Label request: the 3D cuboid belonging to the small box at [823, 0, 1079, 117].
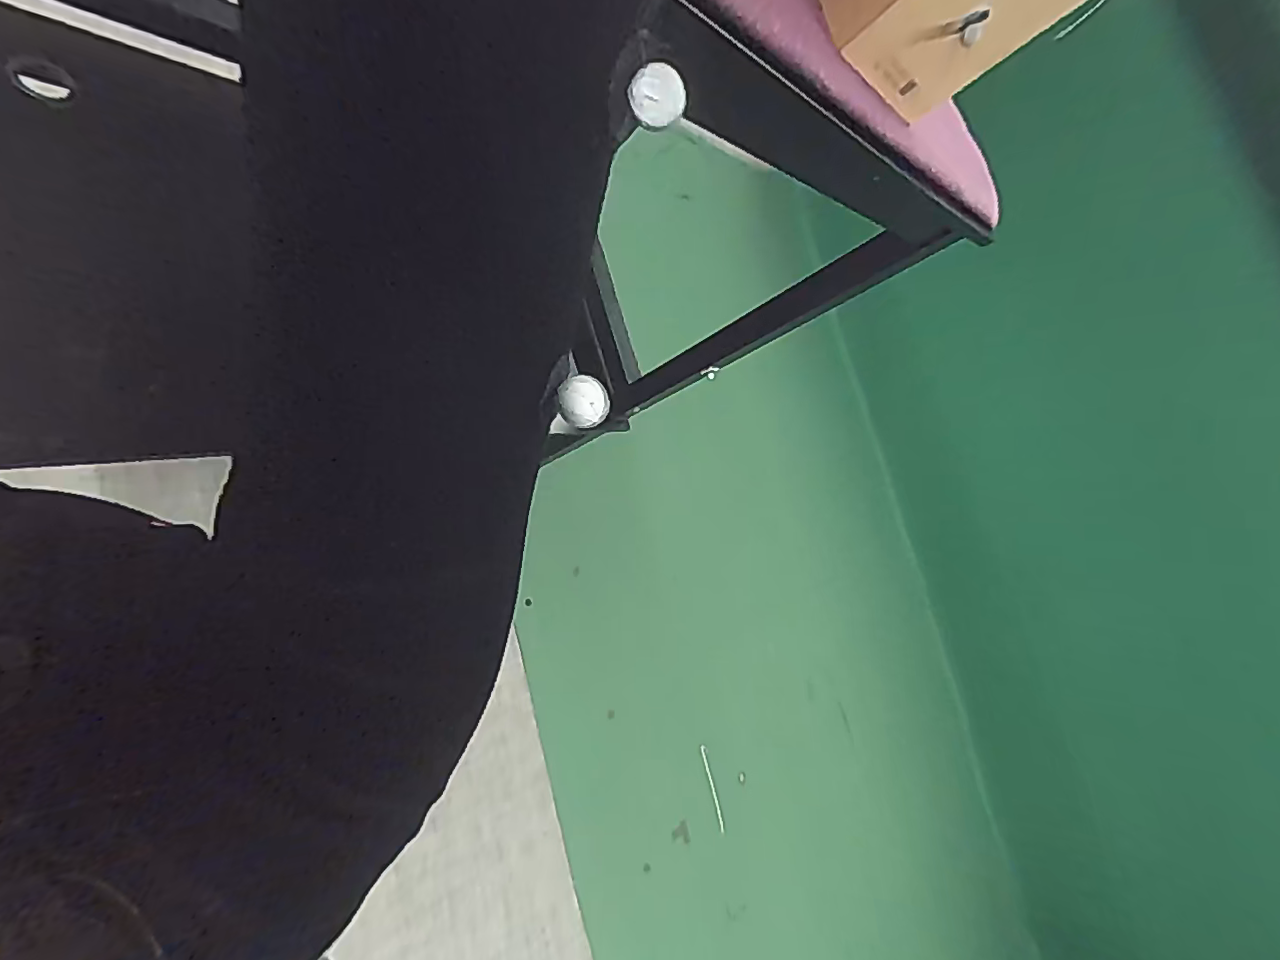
[{"bbox_3d":[0.250,-0.451,0.443,0.168,0.176,0.179,-8,81,-45],"label":"small box"}]
